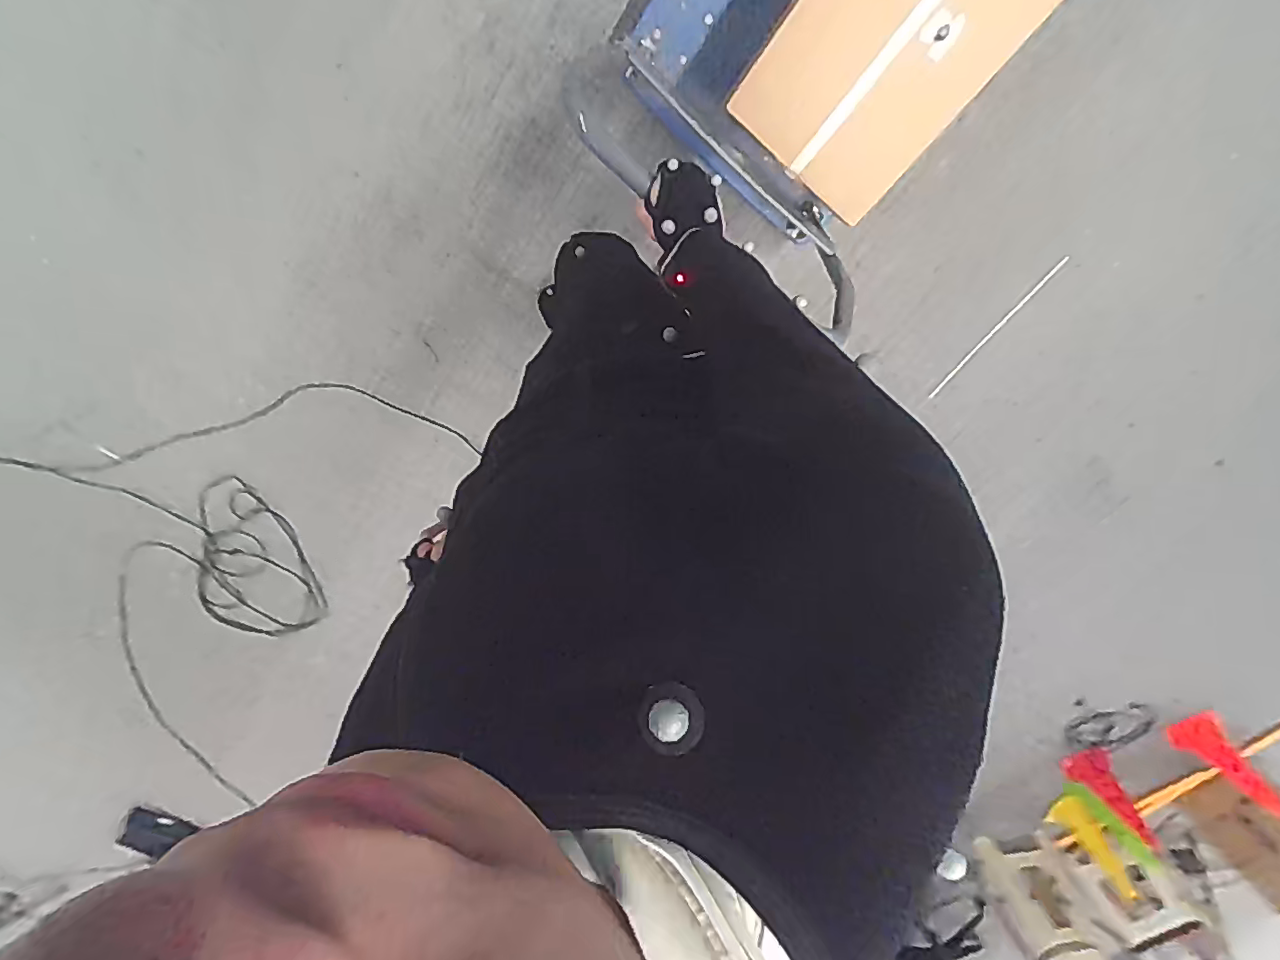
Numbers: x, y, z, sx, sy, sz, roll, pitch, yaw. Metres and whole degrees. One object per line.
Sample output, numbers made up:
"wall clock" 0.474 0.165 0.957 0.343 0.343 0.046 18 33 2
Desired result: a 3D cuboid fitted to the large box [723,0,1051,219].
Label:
"large box" 0.393 -0.759 0.964 0.320 0.320 0.408 34 122 -17
